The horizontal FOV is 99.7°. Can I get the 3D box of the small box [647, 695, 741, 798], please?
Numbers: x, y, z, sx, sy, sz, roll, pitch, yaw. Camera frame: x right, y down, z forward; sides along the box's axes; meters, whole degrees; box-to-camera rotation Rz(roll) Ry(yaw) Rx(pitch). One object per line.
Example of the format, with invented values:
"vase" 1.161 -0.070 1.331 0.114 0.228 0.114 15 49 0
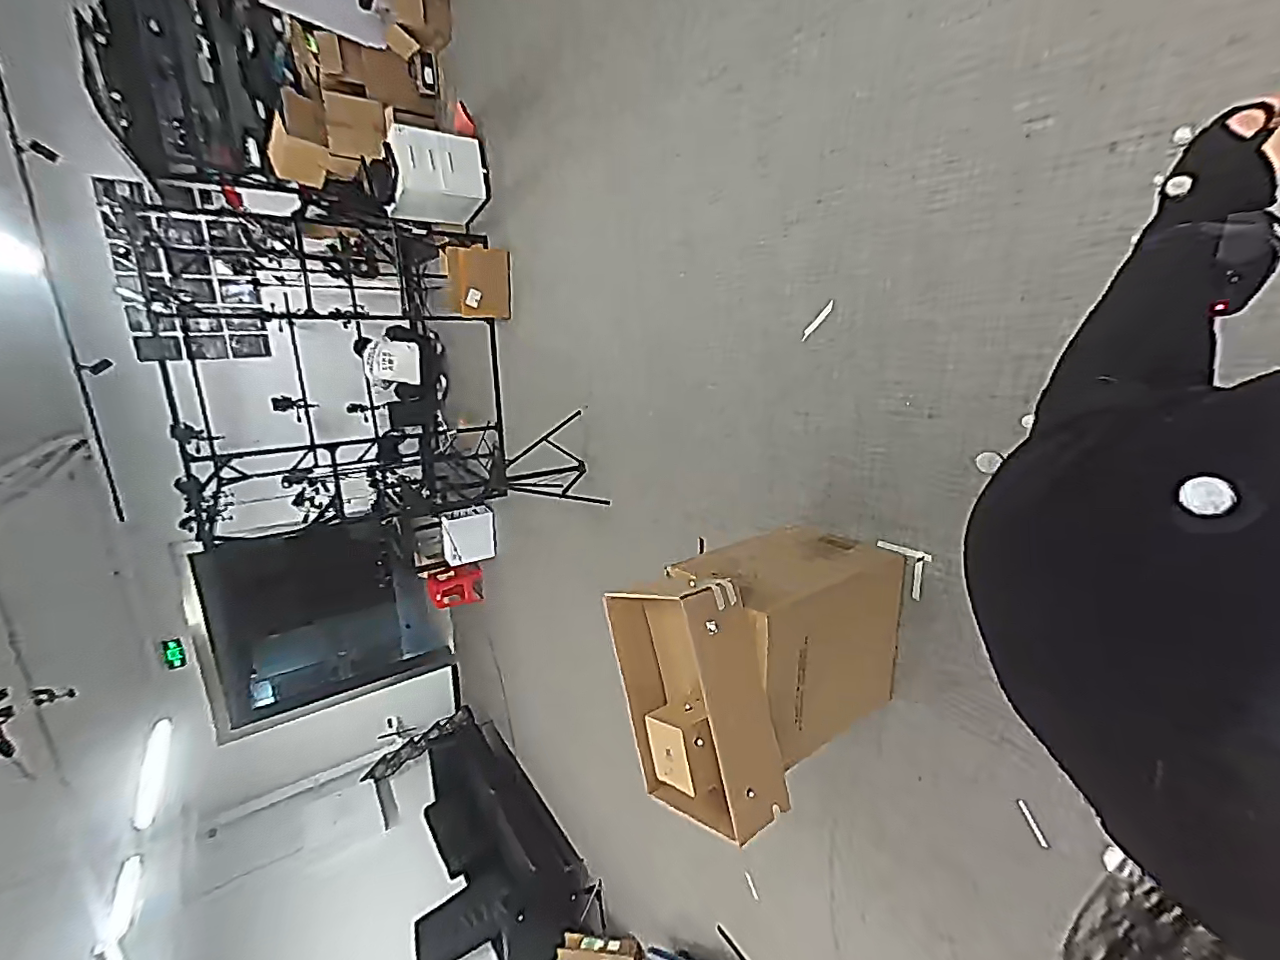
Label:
"small box" 0.146 0.701 1.447 0.168 0.176 0.179 -13 88 56
